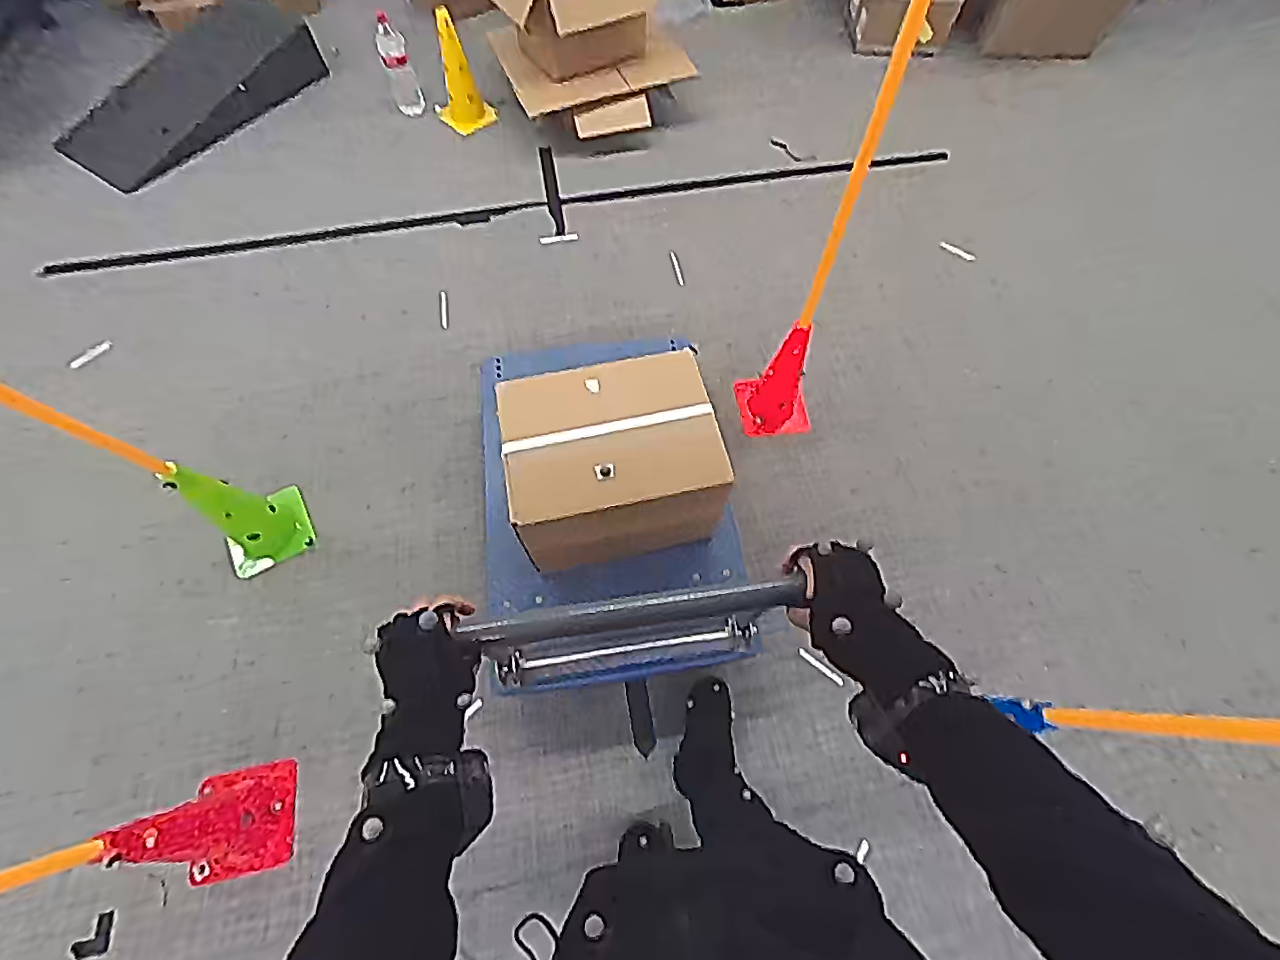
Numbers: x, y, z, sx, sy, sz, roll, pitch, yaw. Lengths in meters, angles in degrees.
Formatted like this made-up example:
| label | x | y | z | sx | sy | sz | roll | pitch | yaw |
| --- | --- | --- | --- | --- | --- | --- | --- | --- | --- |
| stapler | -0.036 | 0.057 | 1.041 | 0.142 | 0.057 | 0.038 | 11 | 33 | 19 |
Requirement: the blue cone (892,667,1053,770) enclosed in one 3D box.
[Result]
| label | x | y | z | sx | sy | sz | roll | pitch | yaw |
| --- | --- | --- | --- | --- | --- | --- | --- | --- | --- |
| blue cone | 0.700 | 0.473 | 1.097 | 0.193 | 0.380 | 0.192 | -13 | 64 | -8 |

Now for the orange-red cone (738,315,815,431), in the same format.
| label | x | y | z | sx | sy | sz | roll | pitch | yaw |
| --- | --- | --- | --- | --- | --- | --- | --- | --- | --- |
| orange-red cone | 0.402 | -0.307 | 1.460 | 0.199 | 0.360 | 0.198 | -3 | 64 | -4 |
